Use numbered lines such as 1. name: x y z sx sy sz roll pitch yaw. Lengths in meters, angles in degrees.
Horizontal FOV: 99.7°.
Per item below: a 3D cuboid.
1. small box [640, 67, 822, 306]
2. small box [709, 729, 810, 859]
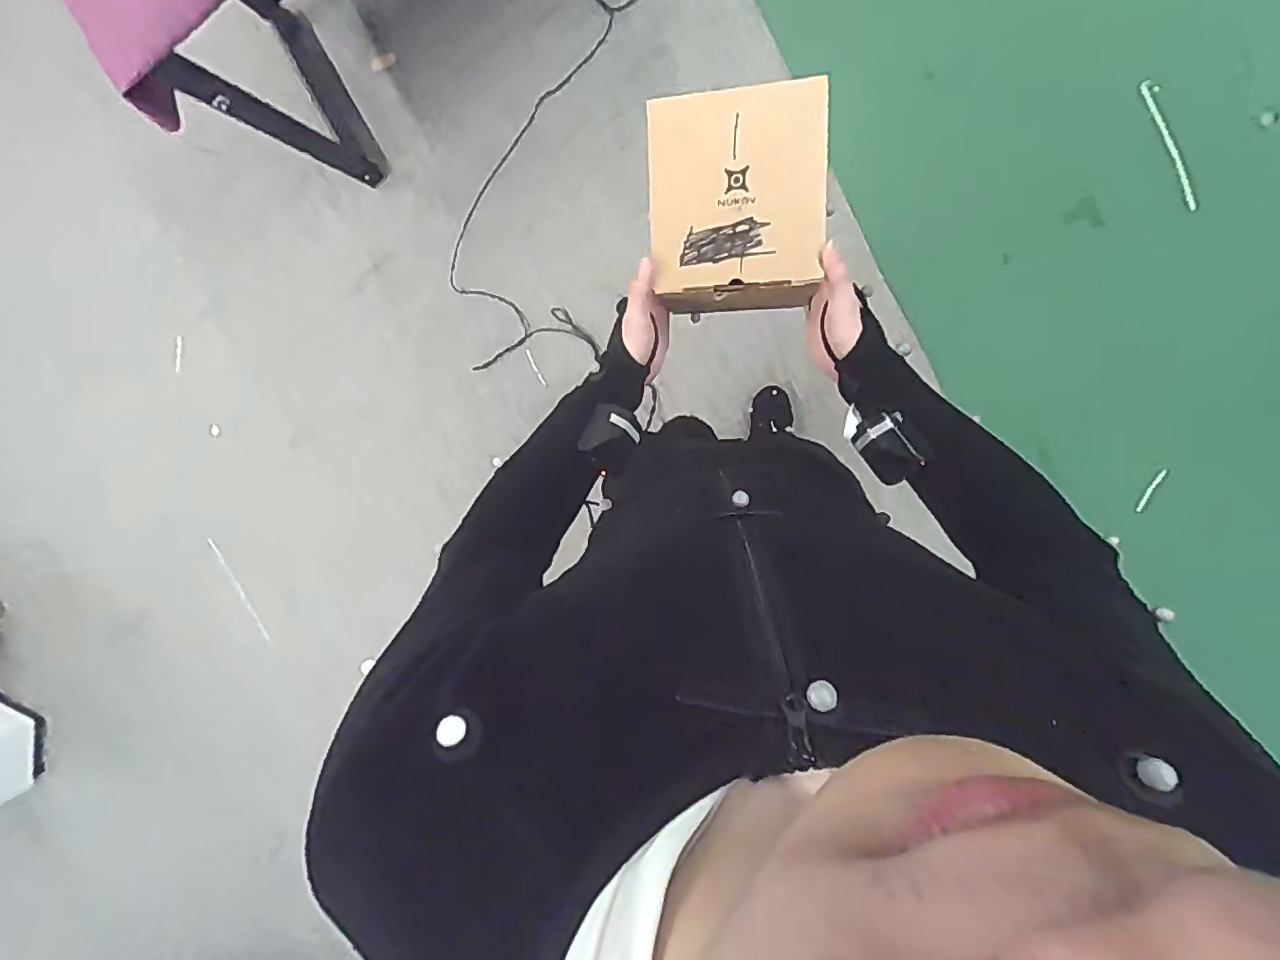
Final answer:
1. small box: 0.099 -0.288 0.578 0.168 0.176 0.179 -1 99 11
2. small box: 0.272 0.705 1.224 0.168 0.176 0.179 -23 95 16
